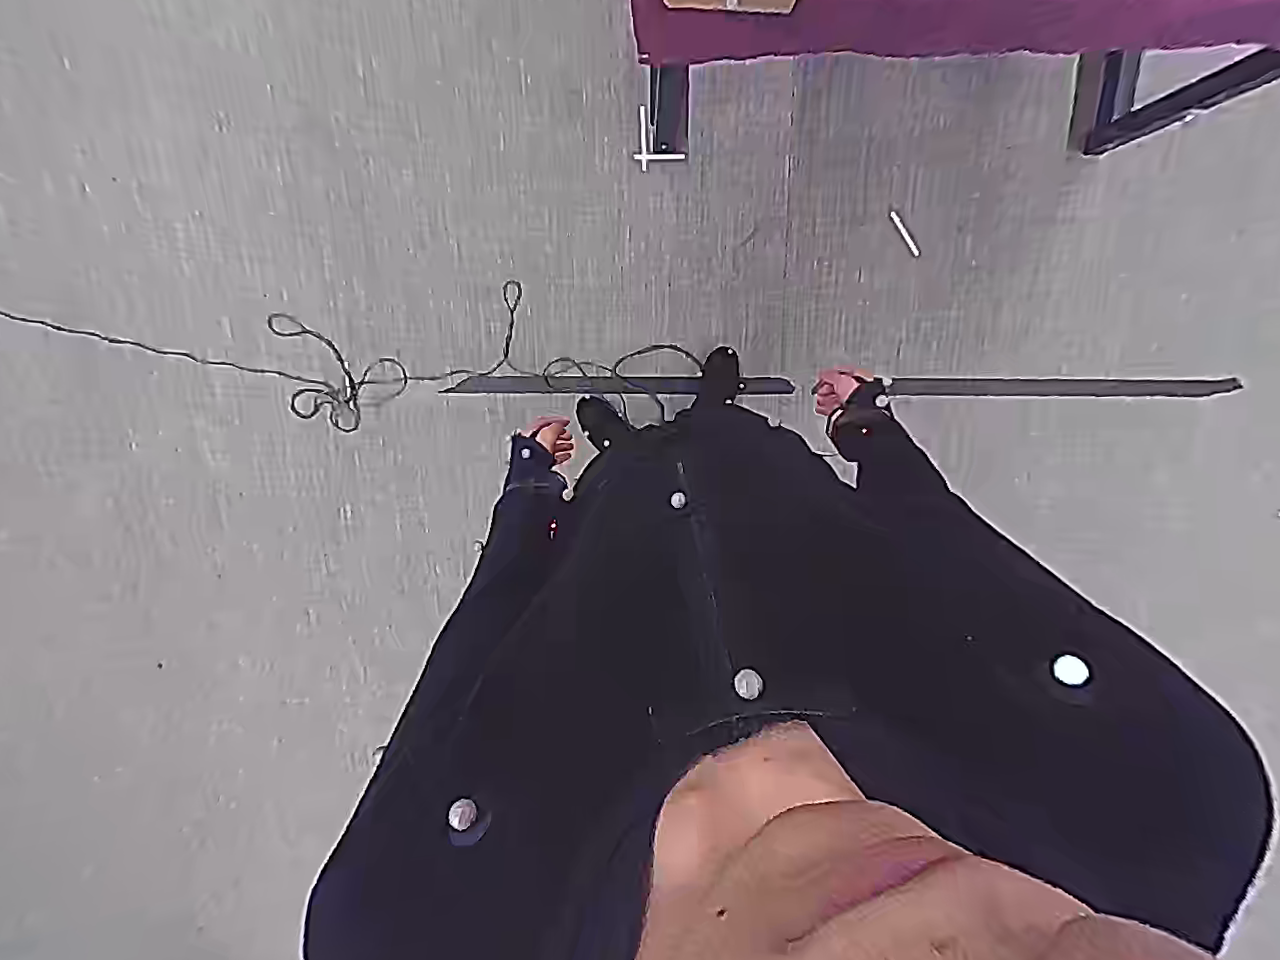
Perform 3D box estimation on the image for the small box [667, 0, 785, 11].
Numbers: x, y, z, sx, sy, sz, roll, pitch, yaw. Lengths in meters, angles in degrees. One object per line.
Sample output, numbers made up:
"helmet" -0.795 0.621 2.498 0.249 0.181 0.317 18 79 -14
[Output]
"small box" 0.123 -0.697 0.636 0.179 0.176 0.168 1 104 -2
